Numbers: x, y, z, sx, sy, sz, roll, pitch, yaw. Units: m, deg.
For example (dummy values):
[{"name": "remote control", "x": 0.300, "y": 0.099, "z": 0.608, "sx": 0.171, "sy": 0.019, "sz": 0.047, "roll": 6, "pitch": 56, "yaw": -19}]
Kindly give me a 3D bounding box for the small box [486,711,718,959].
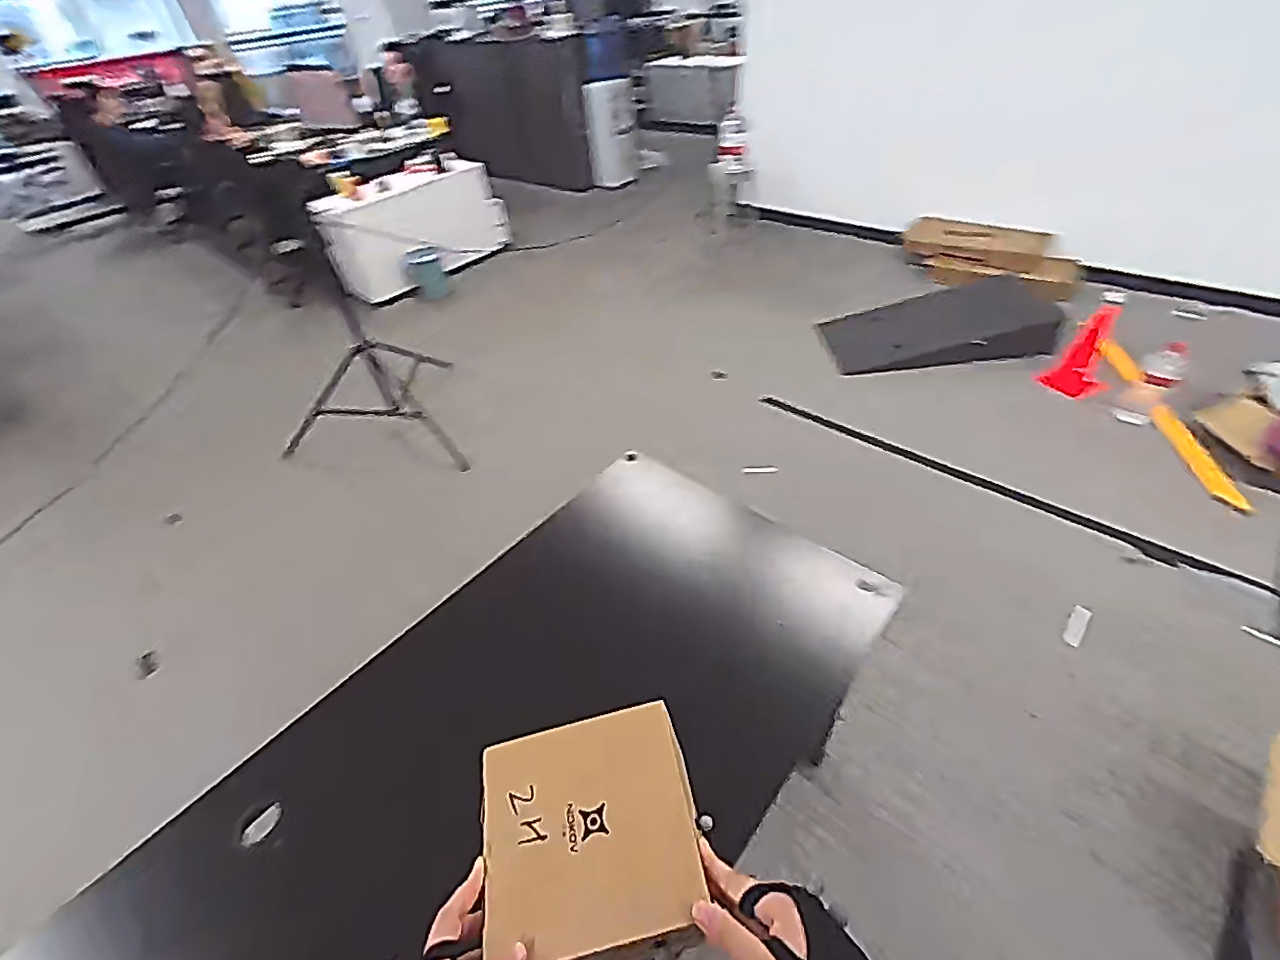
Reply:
[{"name": "small box", "x": -0.029, "y": 0.344, "z": 0.506, "sx": 0.179, "sy": 0.176, "sz": 0.168, "roll": -14, "pitch": 45, "yaw": 0}]
